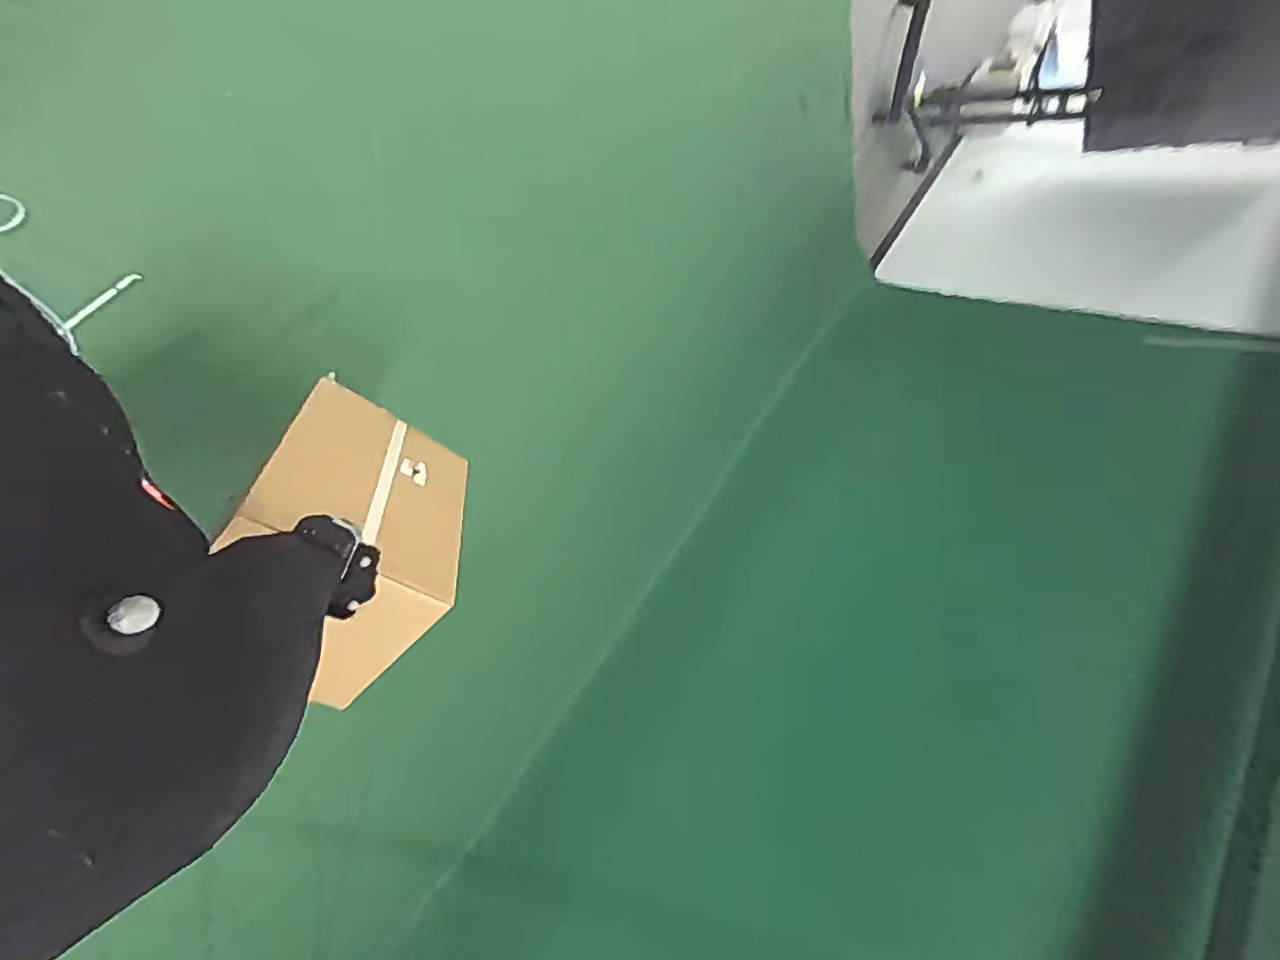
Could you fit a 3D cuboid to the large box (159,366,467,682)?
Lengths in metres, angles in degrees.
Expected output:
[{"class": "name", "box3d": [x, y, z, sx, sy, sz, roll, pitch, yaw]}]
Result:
[{"class": "large box", "box3d": [-0.538, 0.077, 0.969, 0.320, 0.408, 0.320, -42, 125, 18]}]
